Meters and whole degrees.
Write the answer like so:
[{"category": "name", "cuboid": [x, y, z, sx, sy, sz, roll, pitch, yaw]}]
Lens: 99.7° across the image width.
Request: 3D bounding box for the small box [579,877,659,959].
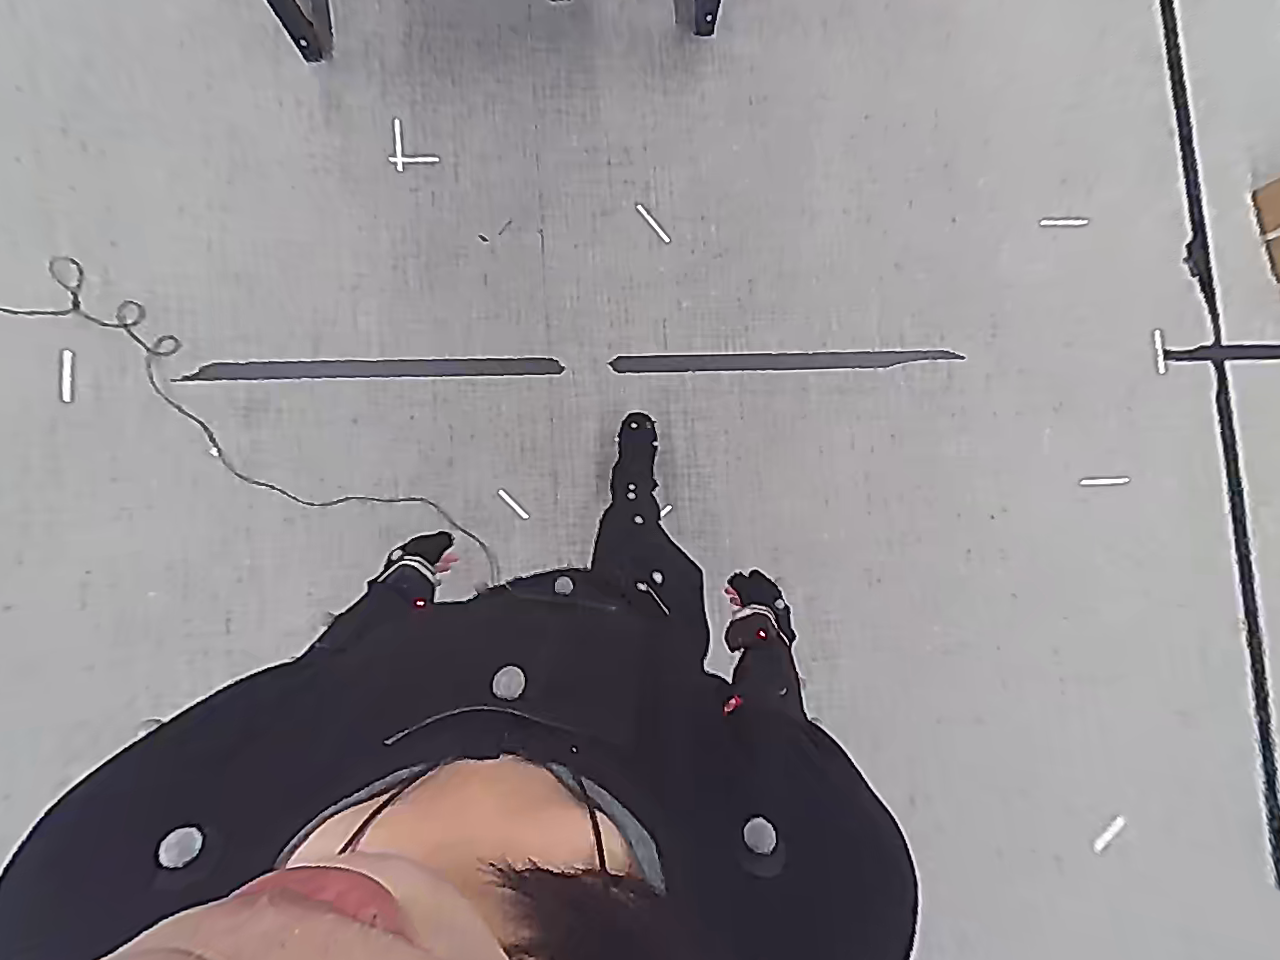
[{"category": "small box", "cuboid": [-0.050, 1.147, 1.354, 0.179, 0.176, 0.168, -11, 87, -6]}]
